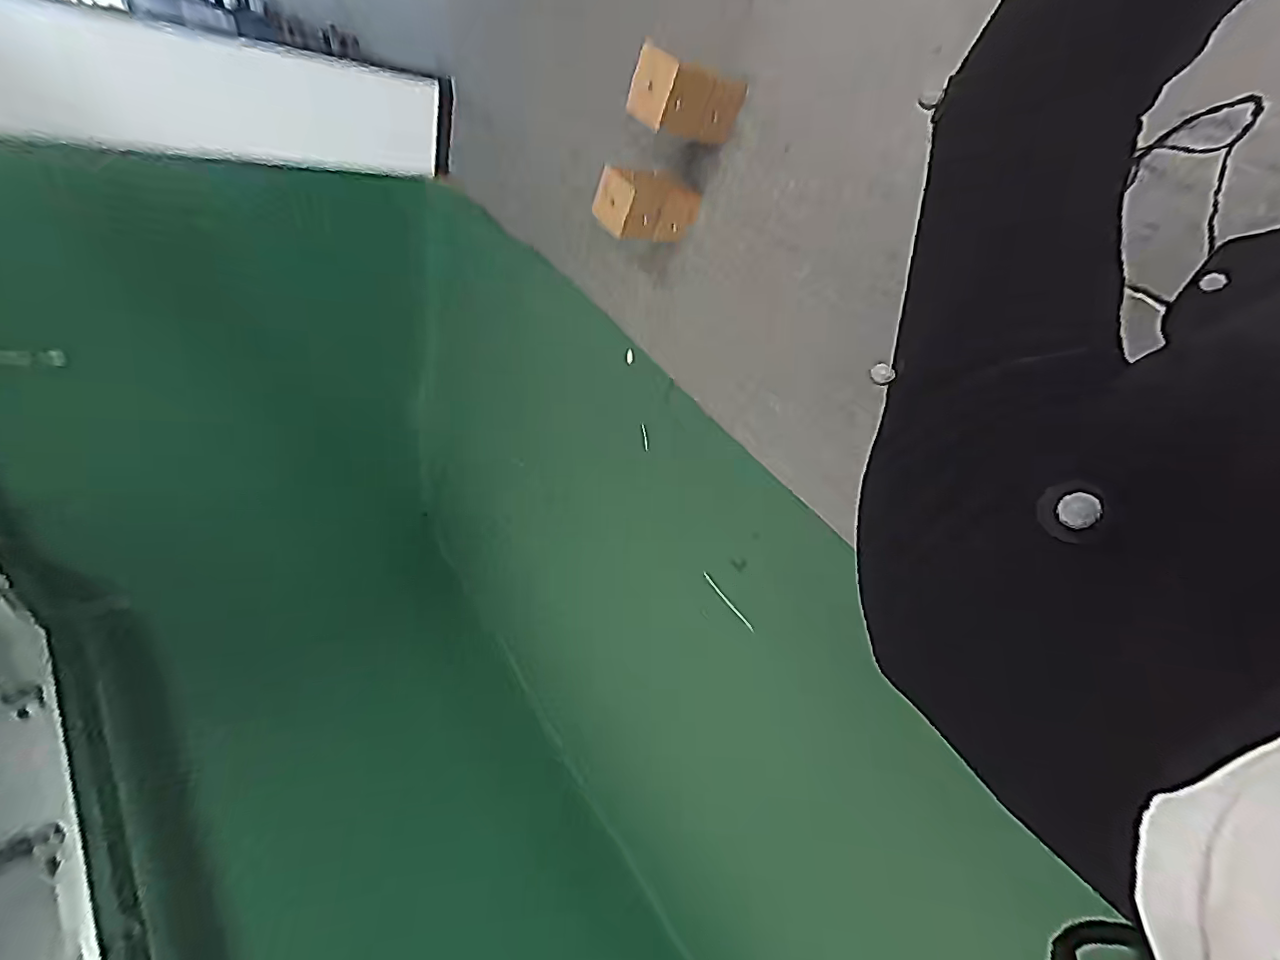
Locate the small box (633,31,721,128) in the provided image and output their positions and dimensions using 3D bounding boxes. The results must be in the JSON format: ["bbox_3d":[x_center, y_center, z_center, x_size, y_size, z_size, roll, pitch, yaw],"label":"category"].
[{"bbox_3d":[0.113,-1.199,1.633,0.168,0.176,0.179,52,137,22],"label":"small box"}]

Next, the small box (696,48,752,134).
[{"bbox_3d":[0.228,-1.247,1.740,0.168,0.176,0.179,50,137,24],"label":"small box"}]

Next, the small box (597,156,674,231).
[{"bbox_3d":[-0.013,-0.986,1.868,0.179,0.176,0.168,54,137,21],"label":"small box"}]

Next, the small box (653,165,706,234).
[{"bbox_3d":[0.109,-1.024,1.974,0.179,0.176,0.168,53,138,23],"label":"small box"}]
